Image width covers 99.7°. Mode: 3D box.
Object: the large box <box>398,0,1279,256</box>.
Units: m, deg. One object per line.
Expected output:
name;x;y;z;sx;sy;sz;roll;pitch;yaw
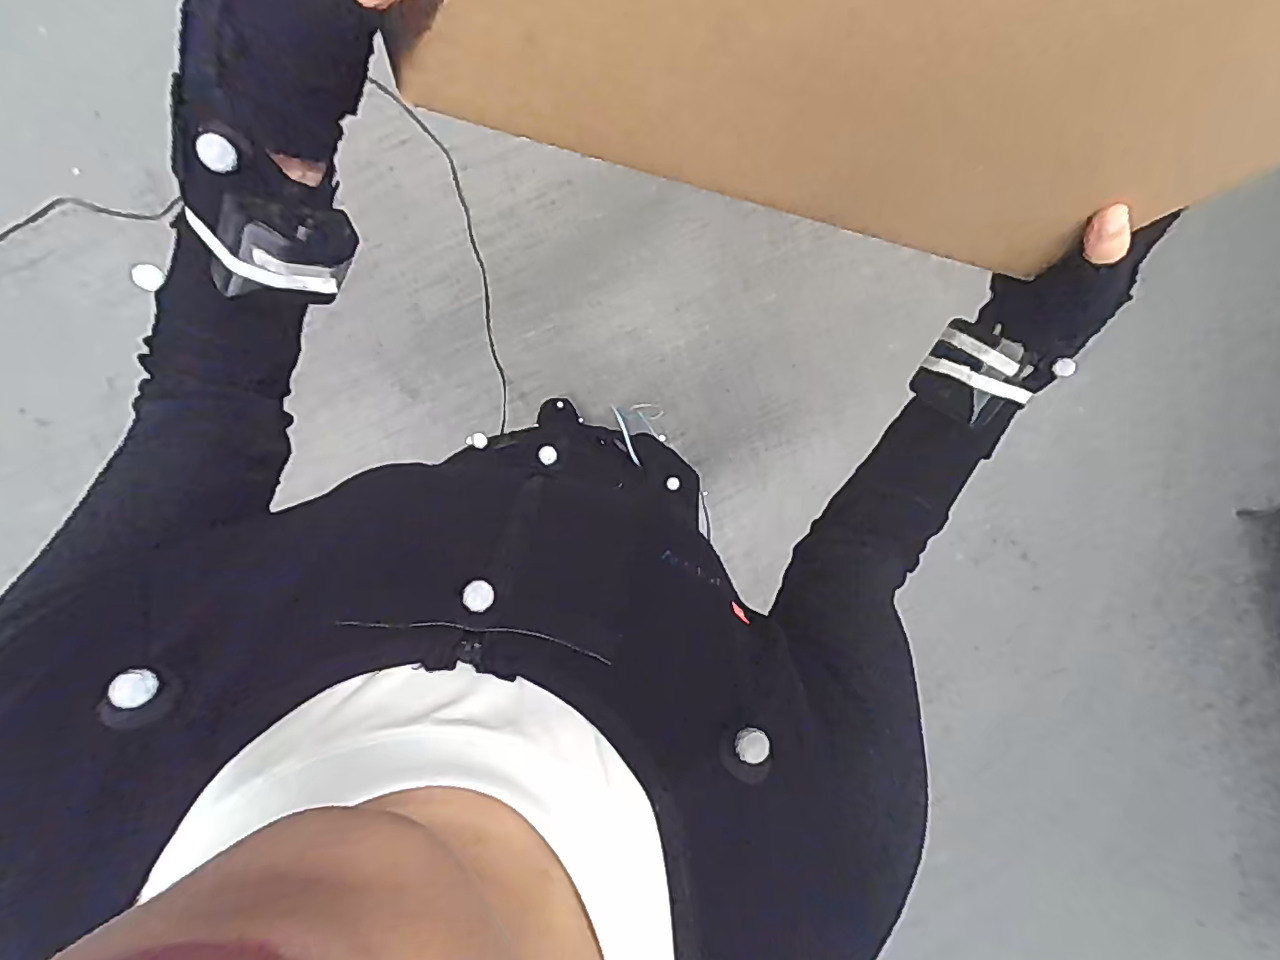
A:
large box;0.124;-0.332;0.195;0.408;0.320;0.320;8;85;-14
